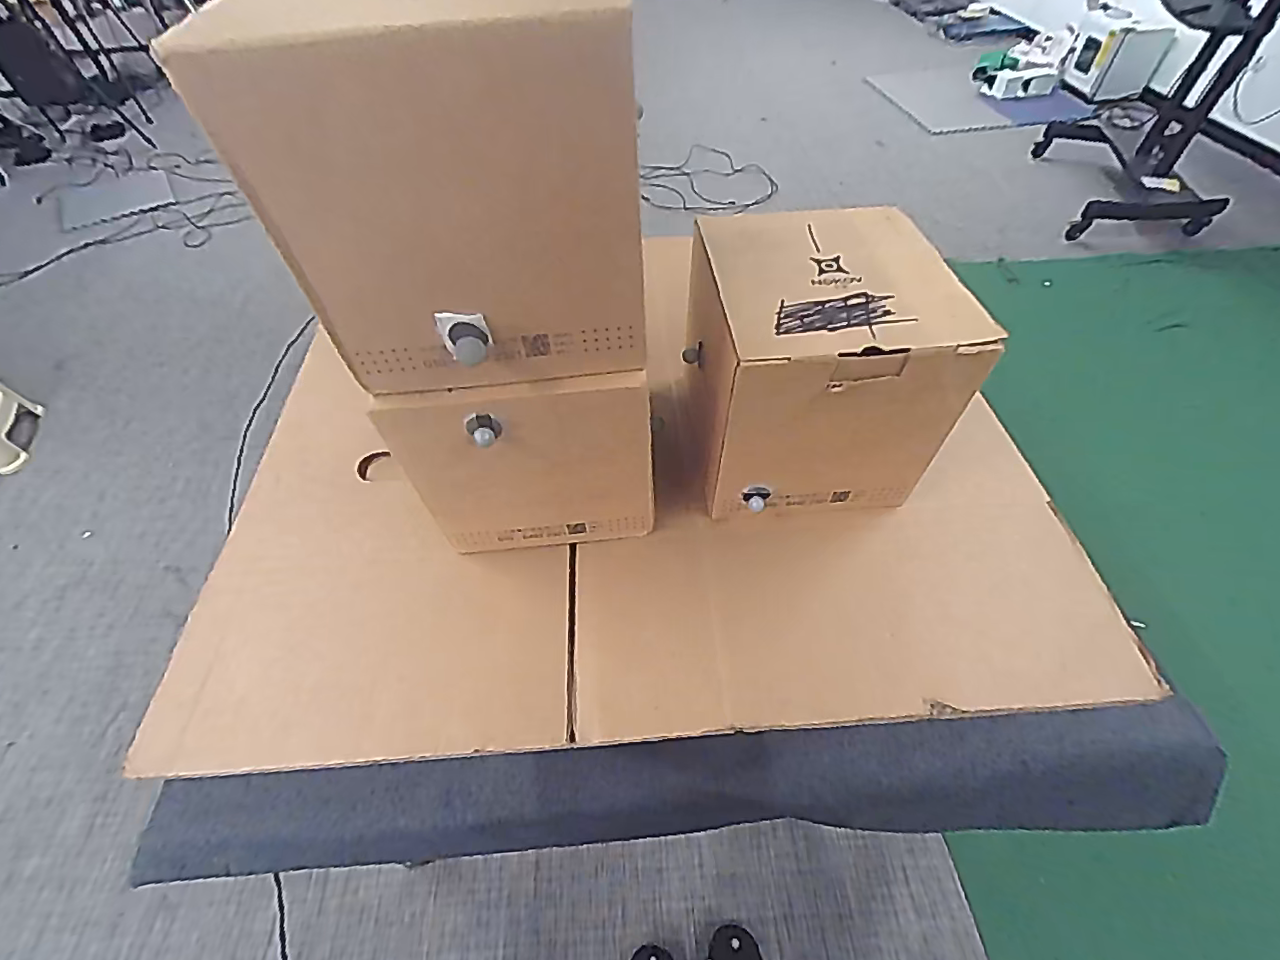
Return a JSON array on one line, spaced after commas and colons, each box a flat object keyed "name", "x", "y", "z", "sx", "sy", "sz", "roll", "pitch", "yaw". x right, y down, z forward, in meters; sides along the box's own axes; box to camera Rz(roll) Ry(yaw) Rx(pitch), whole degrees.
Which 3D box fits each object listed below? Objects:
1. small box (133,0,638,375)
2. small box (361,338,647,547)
[{"name": "small box", "x": -0.094, "y": -0.182, "z": 0.293, "sx": 0.168, "sy": 0.176, "sz": 0.179, "roll": -8, "pitch": 54, "yaw": -2}, {"name": "small box", "x": -0.084, "y": -0.068, "z": 0.429, "sx": 0.168, "sy": 0.176, "sz": 0.179, "roll": -6, "pitch": 52, "yaw": 0}]
